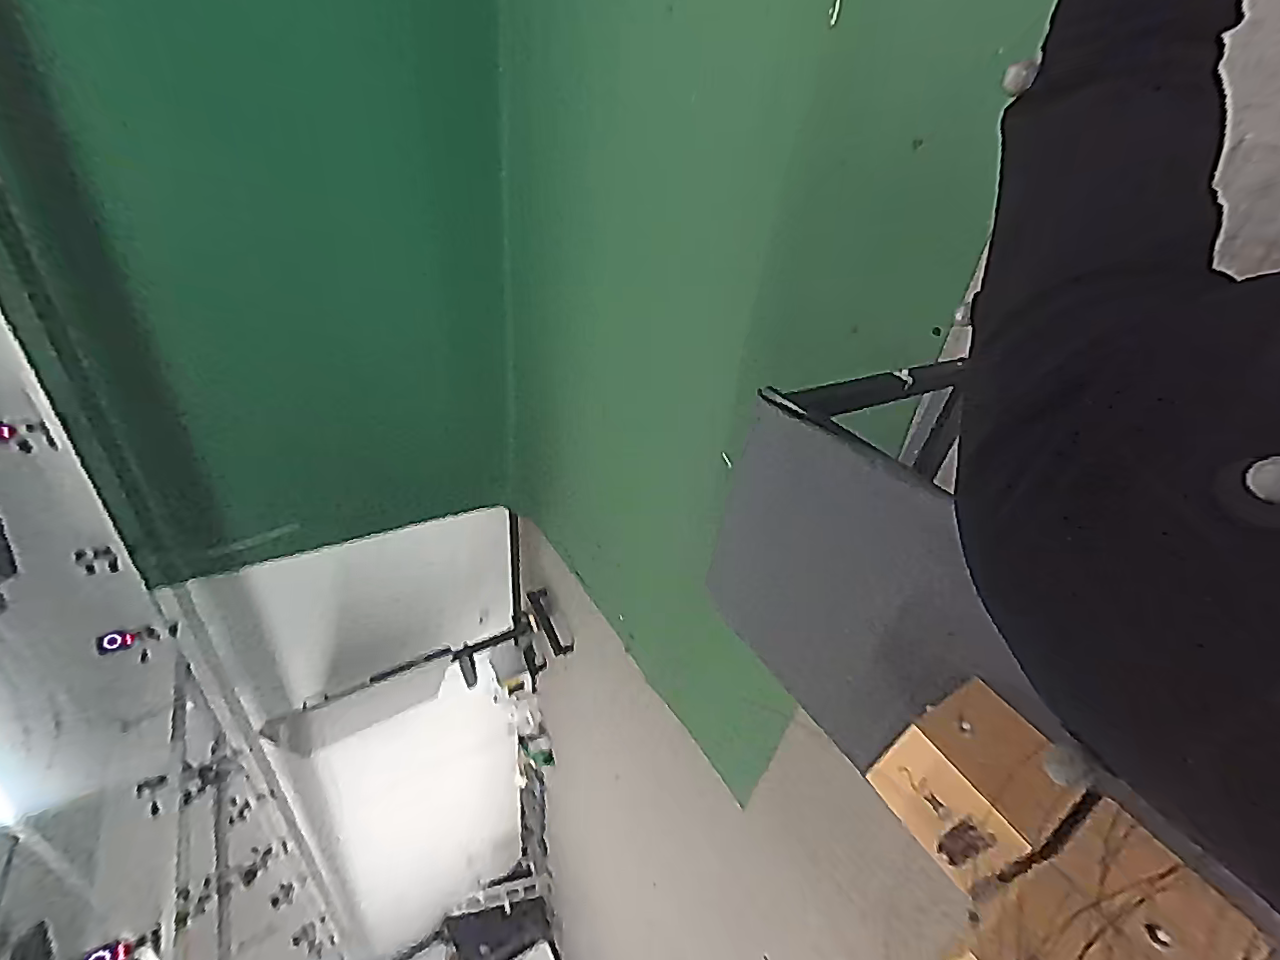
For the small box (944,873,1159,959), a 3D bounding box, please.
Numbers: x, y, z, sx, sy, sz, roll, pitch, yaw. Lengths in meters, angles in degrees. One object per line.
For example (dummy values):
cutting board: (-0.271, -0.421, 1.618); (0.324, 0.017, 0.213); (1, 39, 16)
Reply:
small box: (0.445, 0.562, 0.570); (0.179, 0.176, 0.168); (45, 138, 40)
